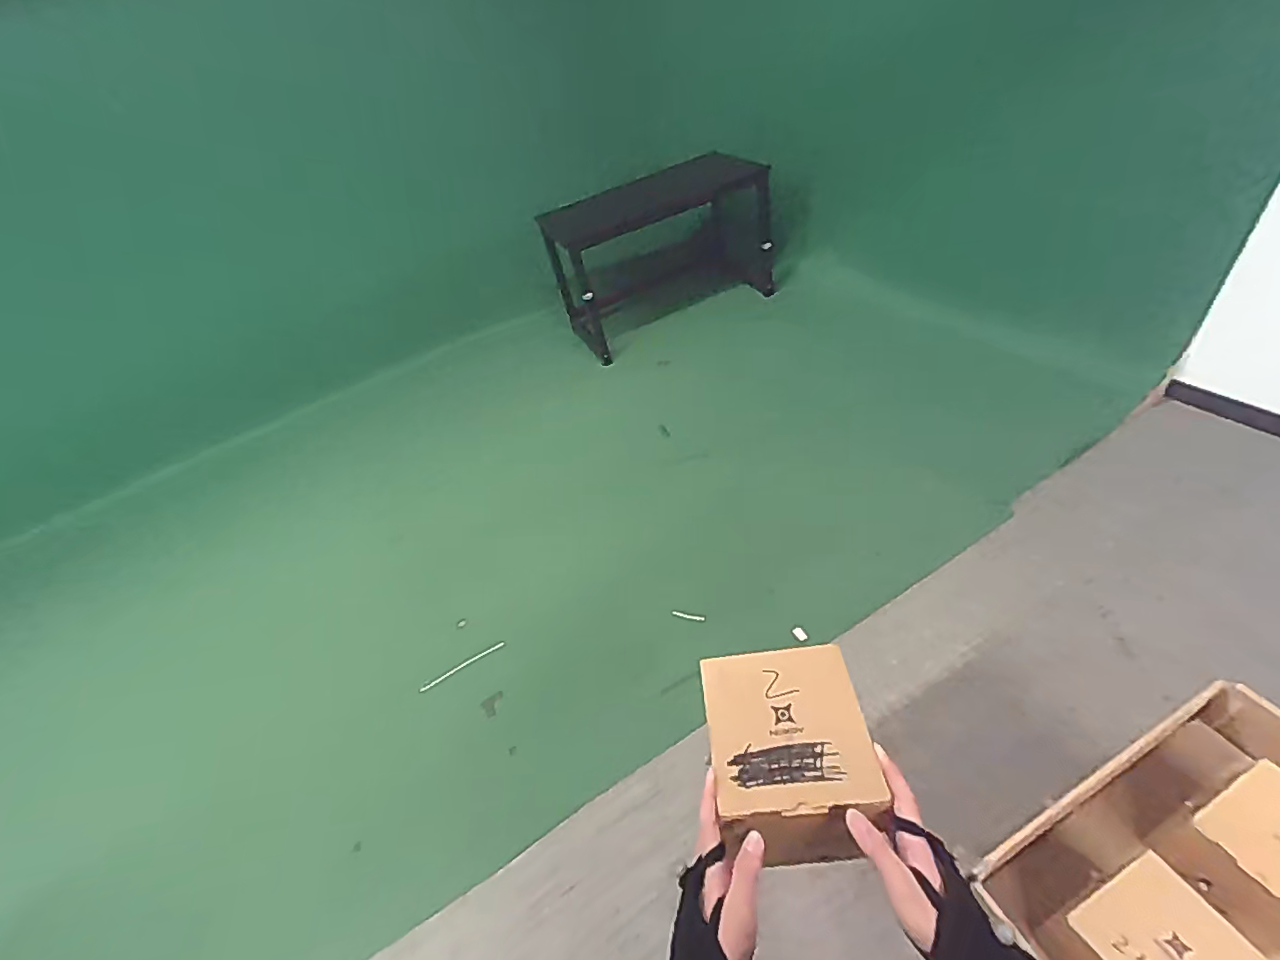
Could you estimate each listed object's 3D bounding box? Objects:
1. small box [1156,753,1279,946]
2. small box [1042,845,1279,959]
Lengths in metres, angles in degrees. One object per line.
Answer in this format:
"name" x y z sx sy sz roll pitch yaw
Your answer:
"small box" 0.950 0.558 0.818 0.179 0.176 0.168 -29 45 -11
"small box" 0.724 0.666 0.768 0.179 0.176 0.168 -26 43 -11
